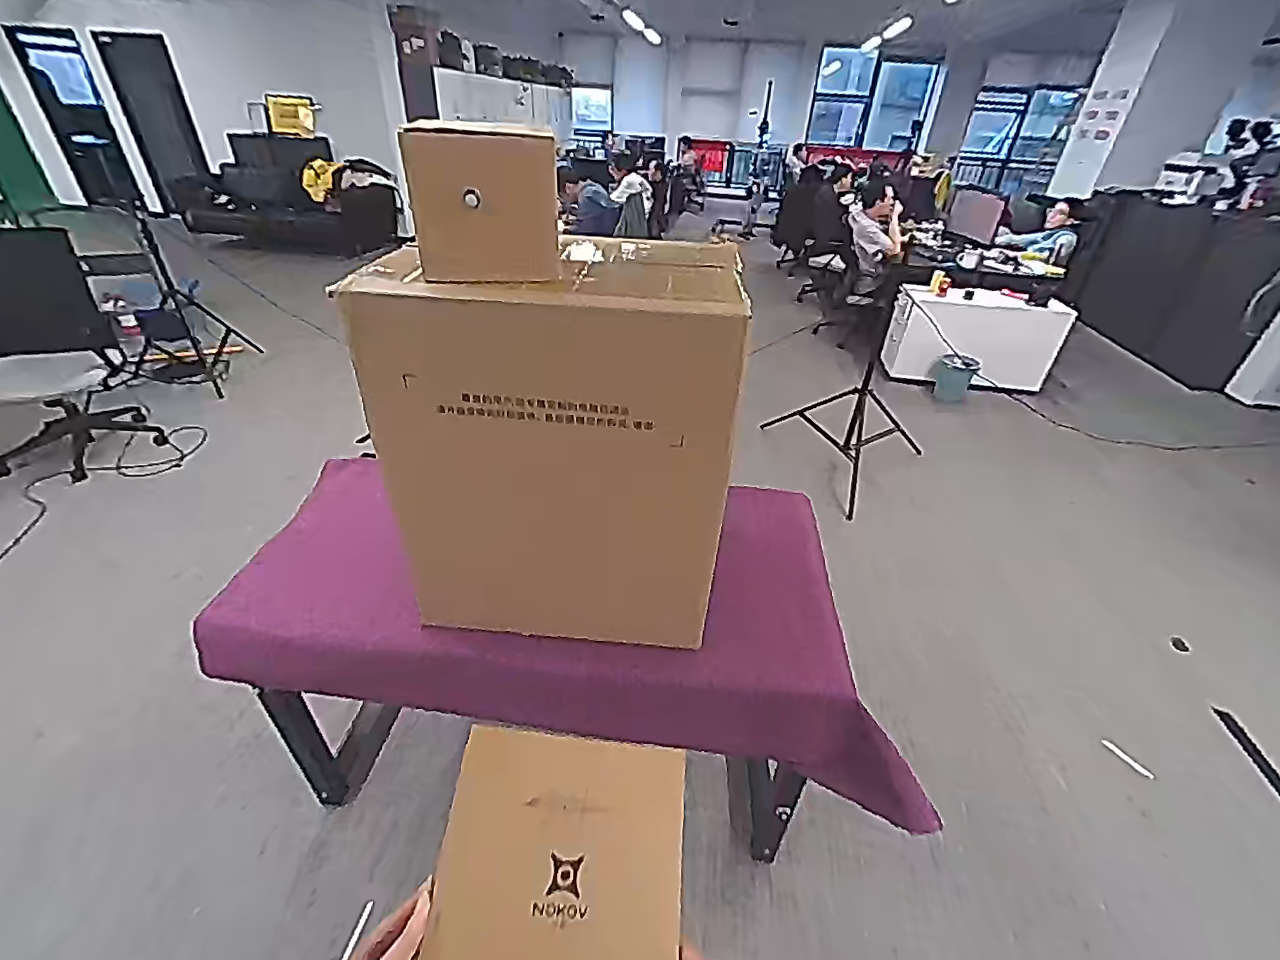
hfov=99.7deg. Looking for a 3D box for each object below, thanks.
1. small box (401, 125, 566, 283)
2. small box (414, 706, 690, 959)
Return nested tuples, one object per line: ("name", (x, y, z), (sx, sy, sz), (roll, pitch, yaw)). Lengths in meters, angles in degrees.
("small box", (-0.194, -0.367, 0.719), (0.179, 0.176, 0.168), (-4, 36, -9))
("small box", (-0.069, 0.291, 0.419), (0.168, 0.176, 0.179), (13, 55, -12))
